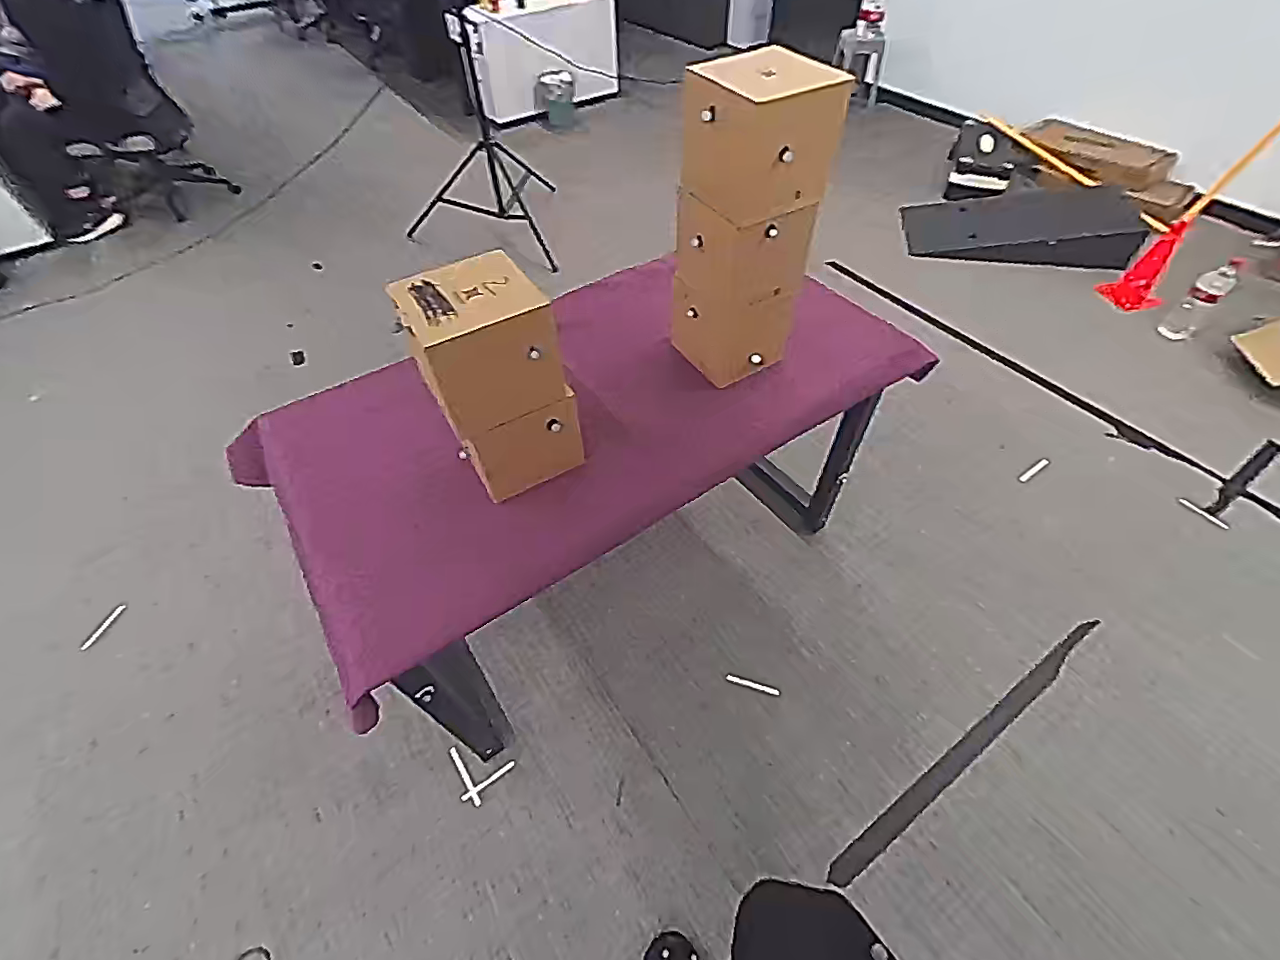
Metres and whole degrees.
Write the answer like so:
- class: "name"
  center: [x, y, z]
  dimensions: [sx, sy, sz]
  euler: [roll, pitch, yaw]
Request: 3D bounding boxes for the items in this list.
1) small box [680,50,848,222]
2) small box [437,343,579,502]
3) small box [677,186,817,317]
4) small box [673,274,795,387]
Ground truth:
- class: "small box"
  center: [0.175, -0.512, 0.817]
  dimensions: [0.168, 0.176, 0.179]
  euler: [-26, 55, -17]
- class: "small box"
  center: [-0.214, -0.096, 0.919]
  dimensions: [0.179, 0.176, 0.168]
  euler: [-27, 55, -18]
- class: "small box"
  center: [0.175, -0.416, 0.950]
  dimensions: [0.168, 0.176, 0.179]
  euler: [-26, 55, -16]
- class: "small box"
  center: [0.176, -0.318, 1.081]
  dimensions: [0.168, 0.176, 0.179]
  euler: [-27, 56, -18]
